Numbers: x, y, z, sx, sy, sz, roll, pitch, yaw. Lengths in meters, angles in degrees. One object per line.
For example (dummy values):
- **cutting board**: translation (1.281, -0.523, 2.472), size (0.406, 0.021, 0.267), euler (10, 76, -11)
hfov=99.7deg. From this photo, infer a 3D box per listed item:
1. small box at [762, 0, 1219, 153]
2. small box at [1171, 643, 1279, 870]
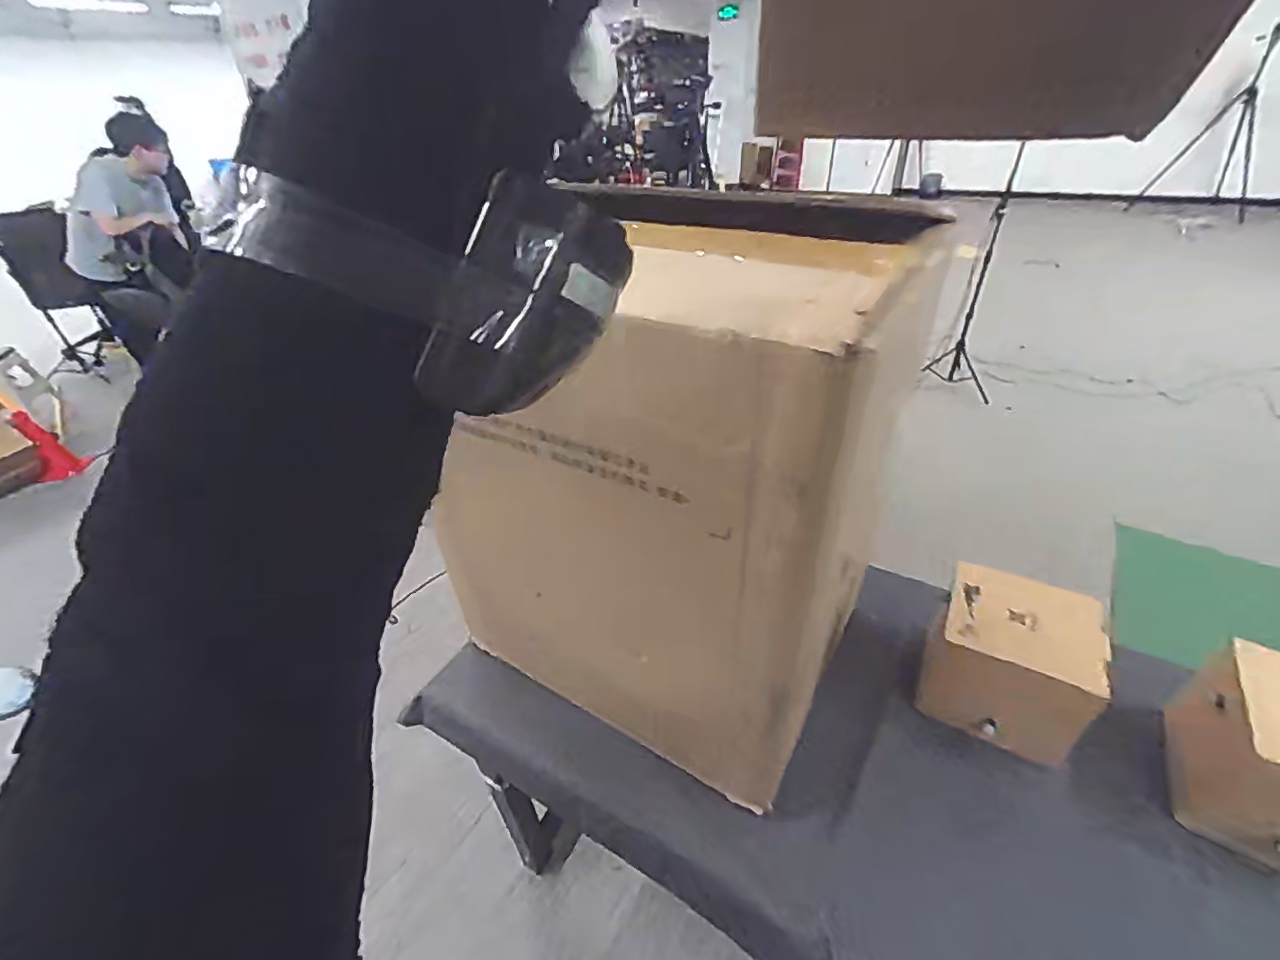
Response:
- **small box**: translation (0.151, -0.268, 0.225), size (0.179, 0.176, 0.168), euler (10, 70, 12)
- **small box**: translation (0.770, 0.336, 0.632), size (0.168, 0.176, 0.179), euler (19, 42, 29)
